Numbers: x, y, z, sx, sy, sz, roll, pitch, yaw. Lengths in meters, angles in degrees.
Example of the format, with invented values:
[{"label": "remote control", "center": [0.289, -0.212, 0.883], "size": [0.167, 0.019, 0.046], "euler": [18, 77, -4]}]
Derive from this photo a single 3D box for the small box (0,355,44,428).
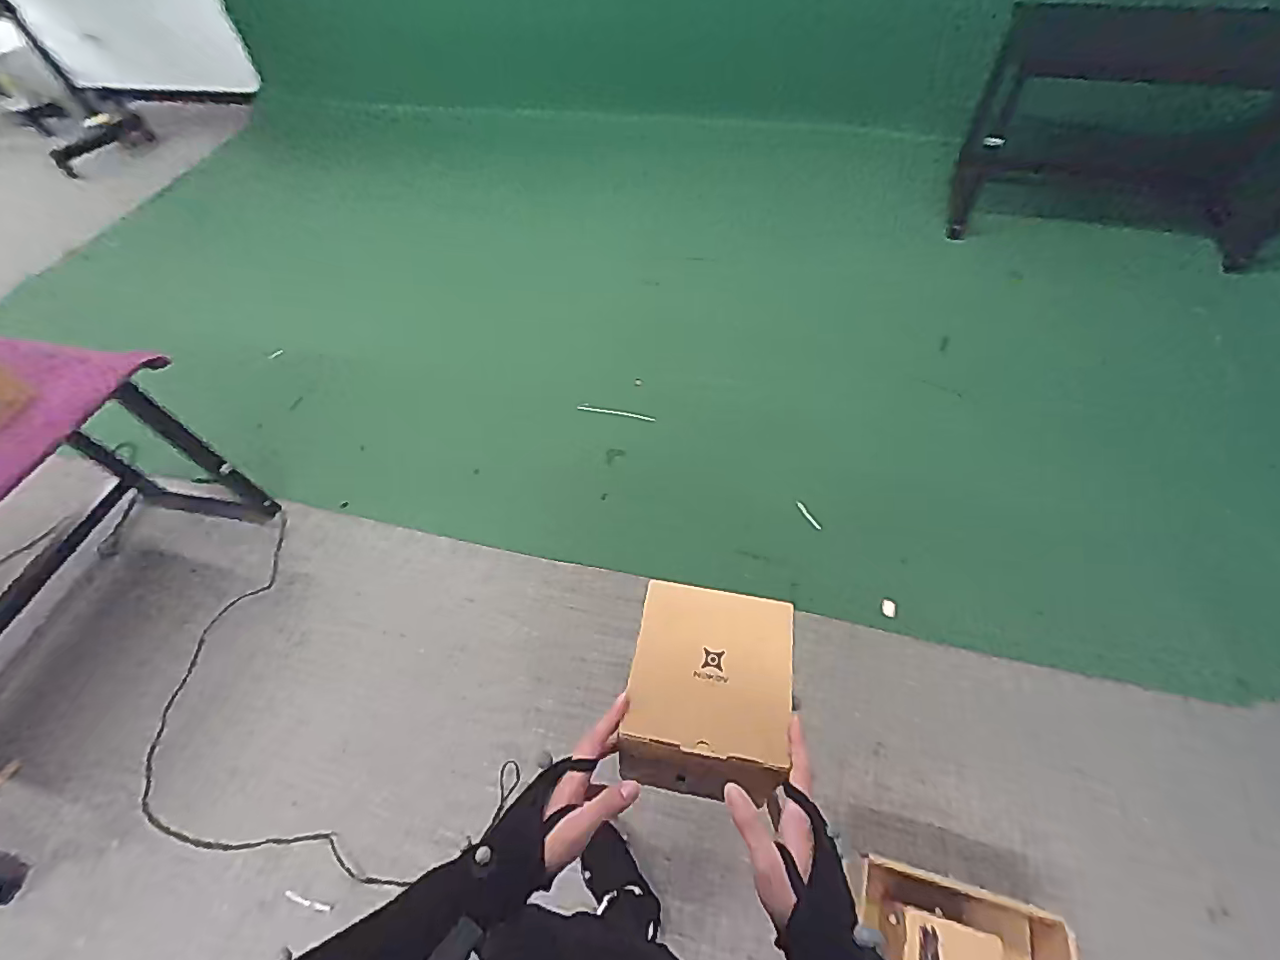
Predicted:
[{"label": "small box", "center": [-1.544, -0.215, 1.219], "size": [0.179, 0.176, 0.168], "euler": [11, 58, 13]}]
